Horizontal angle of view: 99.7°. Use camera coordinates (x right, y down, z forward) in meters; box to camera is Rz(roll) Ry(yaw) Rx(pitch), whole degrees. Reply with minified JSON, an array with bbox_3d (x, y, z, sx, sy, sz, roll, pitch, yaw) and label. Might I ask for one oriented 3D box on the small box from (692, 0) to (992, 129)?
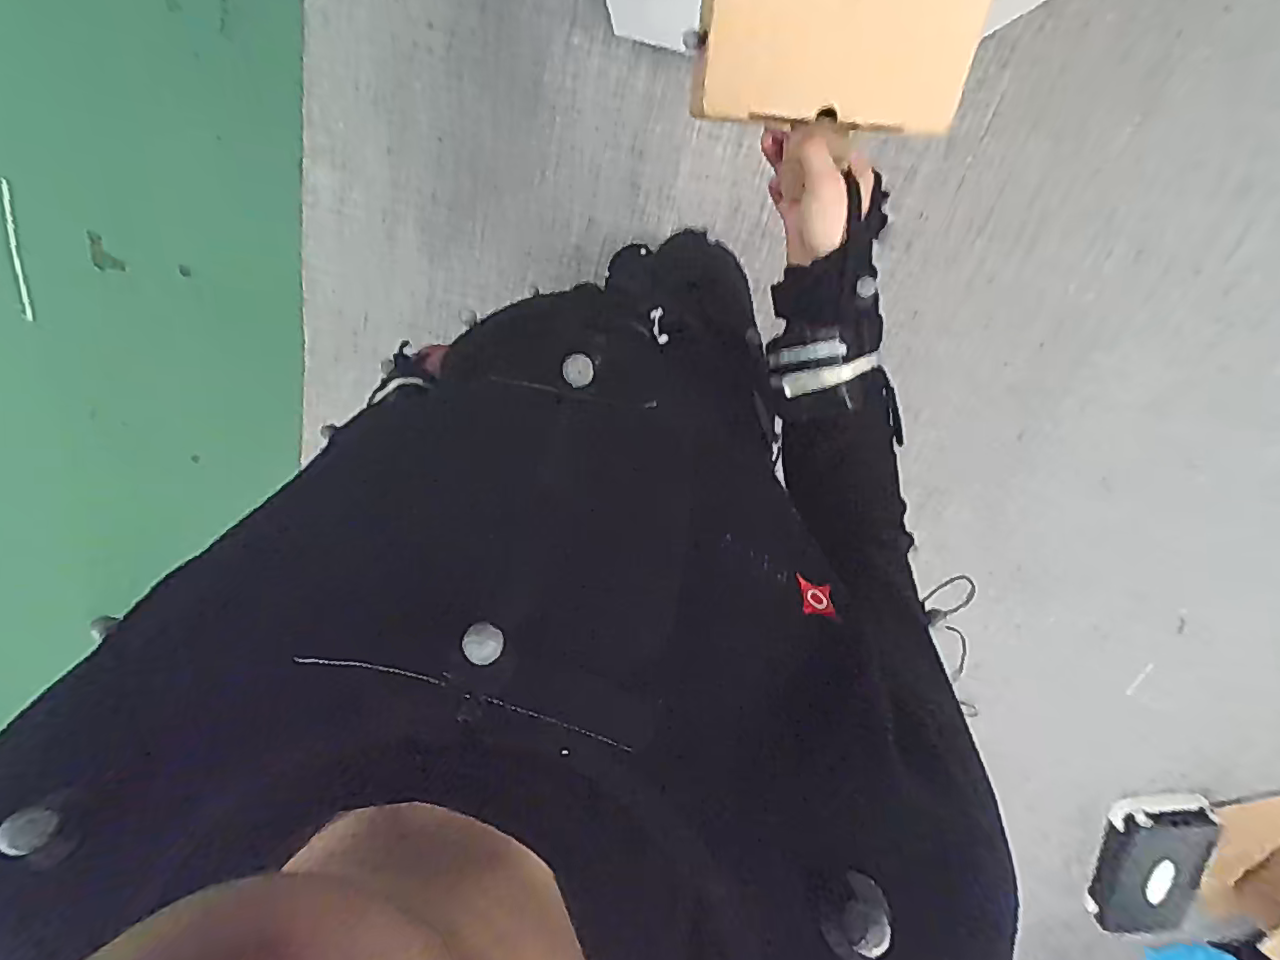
[{"bbox_3d":[0.128,-0.351,0.370,0.168,0.176,0.179,3,125,-1],"label":"small box"}]
